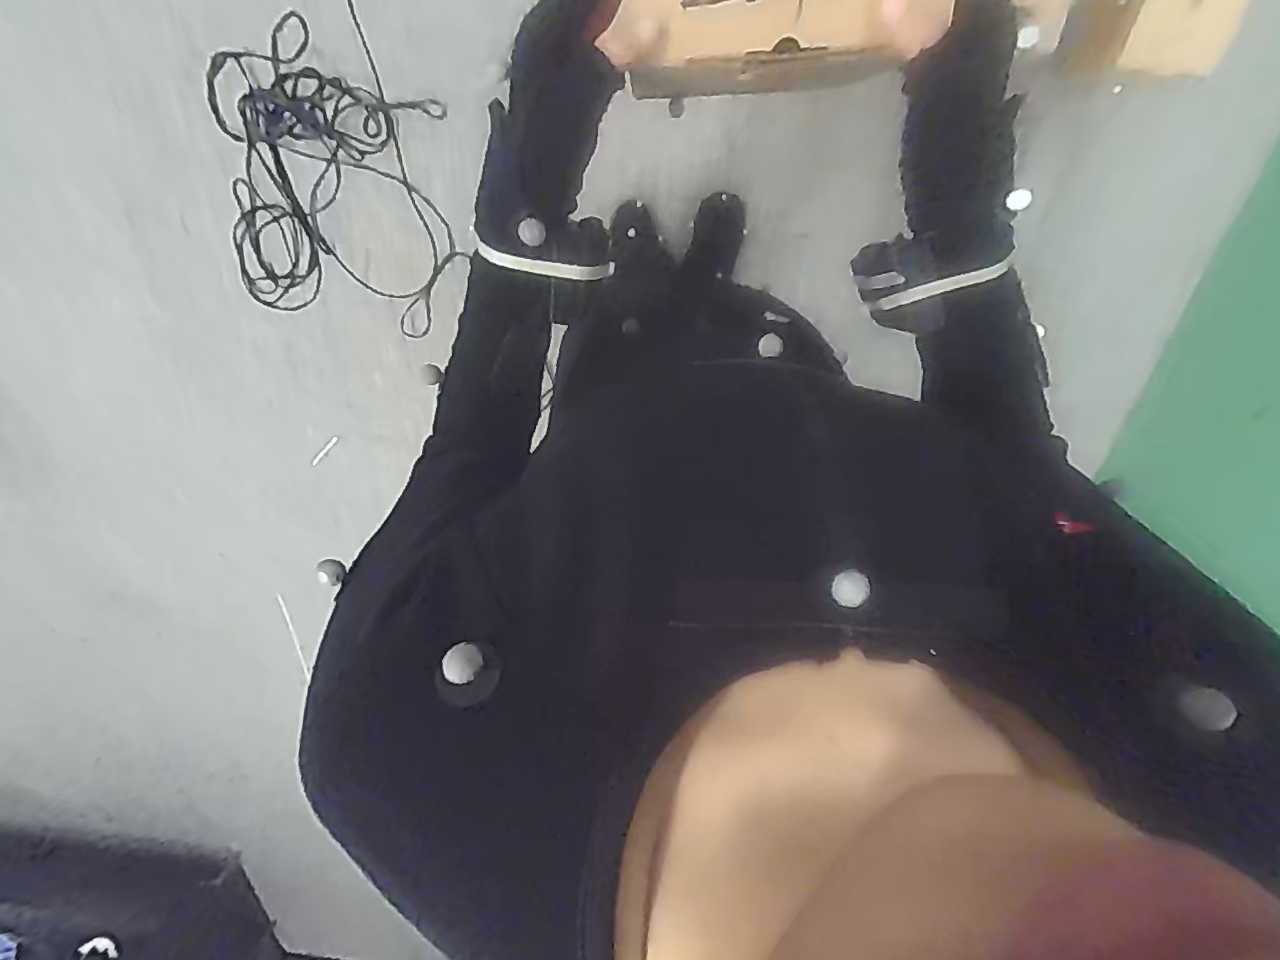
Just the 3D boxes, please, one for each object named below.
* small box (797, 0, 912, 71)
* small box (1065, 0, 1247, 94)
[{"bbox_3d":[0.396,-0.883,0.995,0.168,0.176,0.179,8,120,3],"label":"small box"},{"bbox_3d":[0.921,-0.817,0.970,0.168,0.176,0.179,8,120,3],"label":"small box"}]
